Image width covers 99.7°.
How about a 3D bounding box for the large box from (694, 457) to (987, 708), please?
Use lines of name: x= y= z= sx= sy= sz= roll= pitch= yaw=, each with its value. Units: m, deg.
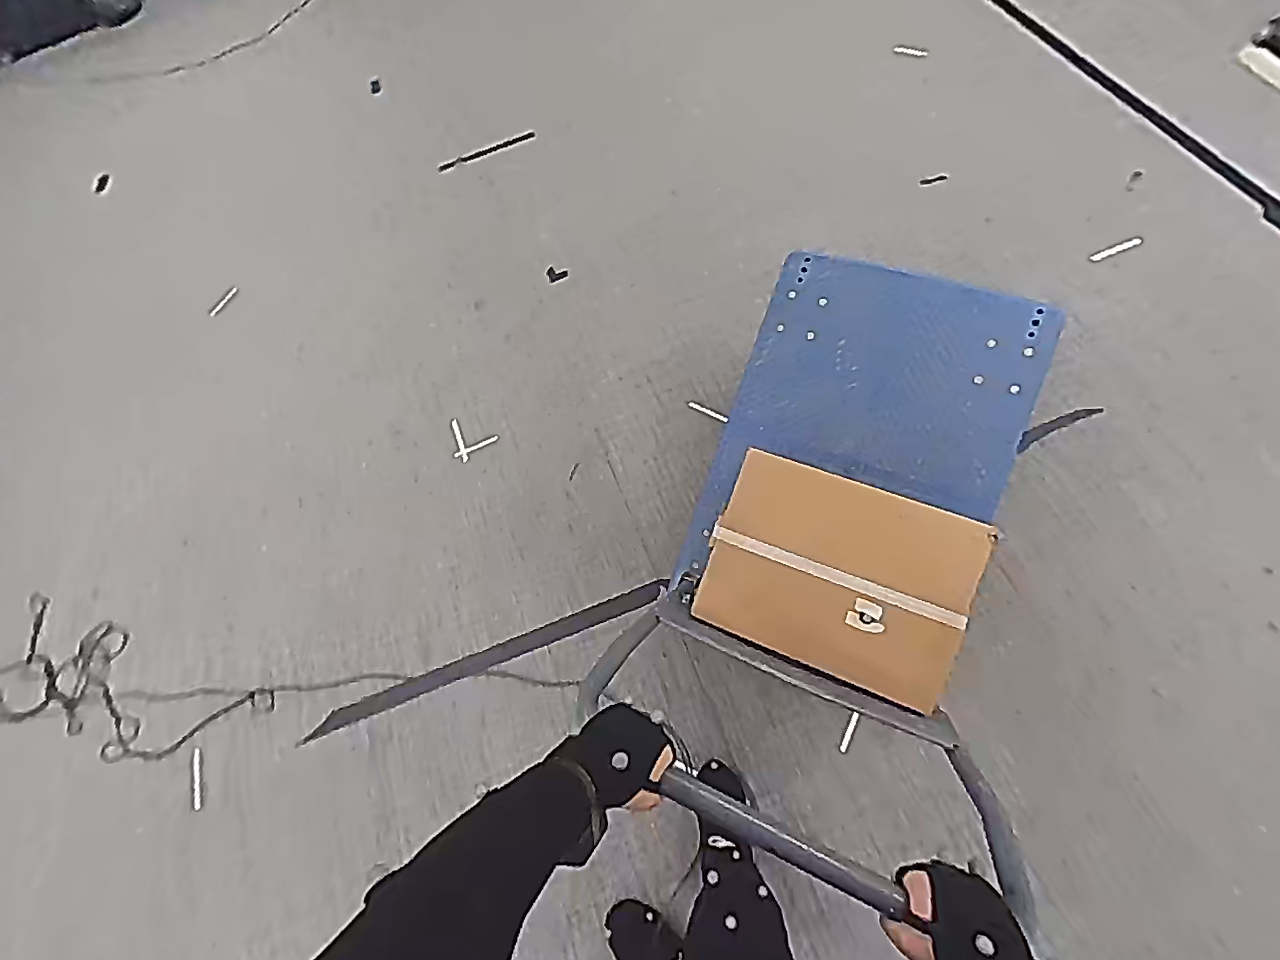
large box: x=0.357 y=0.171 z=1.050 sx=0.408 sy=0.320 sz=0.320 roll=19 pitch=92 yaw=15
